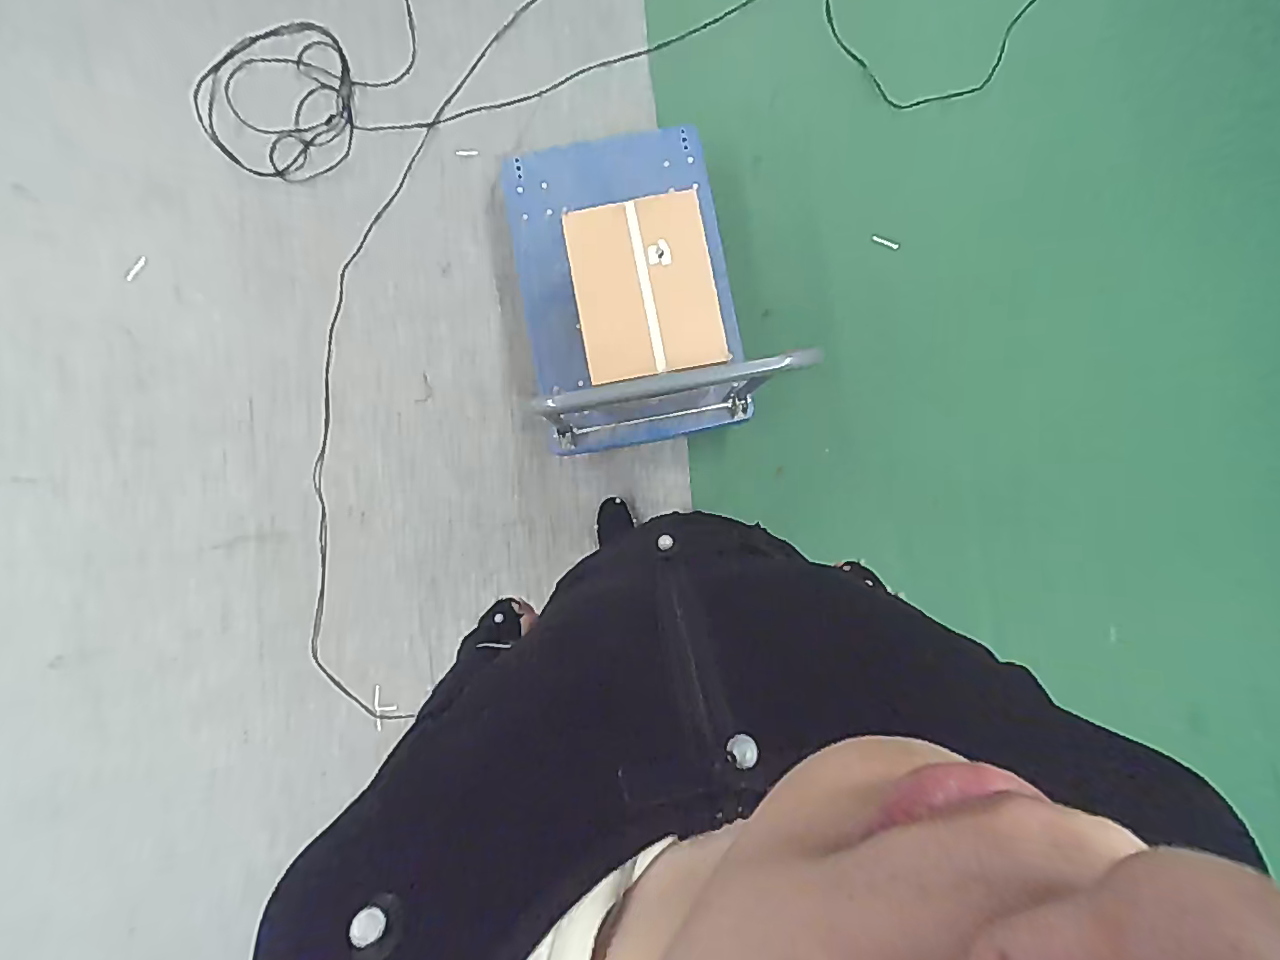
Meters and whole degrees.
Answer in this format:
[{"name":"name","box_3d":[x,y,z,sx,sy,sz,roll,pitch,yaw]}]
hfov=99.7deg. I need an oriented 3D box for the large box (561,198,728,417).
[{"name":"large box","box_3d":[0.009,-0.408,1.357,0.320,0.320,0.408,-11,85,-2]}]
